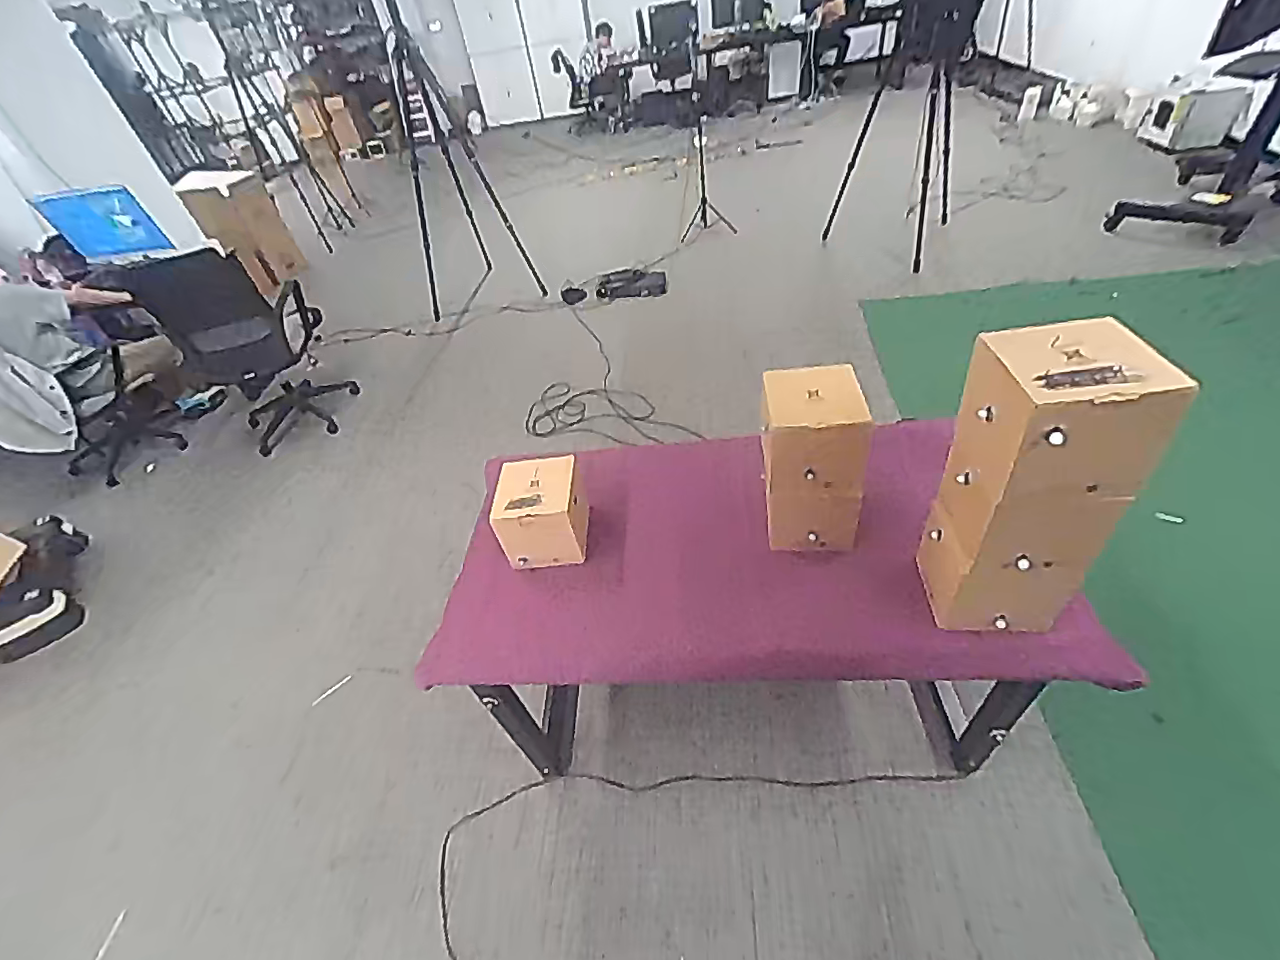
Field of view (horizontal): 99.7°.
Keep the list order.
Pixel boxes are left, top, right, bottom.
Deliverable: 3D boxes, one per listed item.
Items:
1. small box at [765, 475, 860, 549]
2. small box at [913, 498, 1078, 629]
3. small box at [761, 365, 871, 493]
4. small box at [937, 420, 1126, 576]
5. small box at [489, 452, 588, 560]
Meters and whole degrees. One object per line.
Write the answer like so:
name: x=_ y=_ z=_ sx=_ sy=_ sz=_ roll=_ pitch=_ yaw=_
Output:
small box: x=0.350 y=0.024 z=1.129 sx=0.168 sy=0.176 sz=0.179 roll=-1 pitch=45 yaw=11
small box: x=0.605 y=0.147 z=0.948 sx=0.179 sy=0.176 sz=0.168 roll=-1 pitch=43 yaw=11
small box: x=0.320 y=-0.095 z=1.022 sx=0.168 sy=0.176 sz=0.179 roll=-3 pitch=45 yaw=8
small box: x=0.583 y=0.027 z=0.839 sx=0.168 sy=0.176 sz=0.179 roll=-2 pitch=44 yaw=12
small box: x=-0.214 y=0.064 z=1.200 sx=0.168 sy=0.176 sz=0.179 roll=-5 pitch=43 yaw=5
